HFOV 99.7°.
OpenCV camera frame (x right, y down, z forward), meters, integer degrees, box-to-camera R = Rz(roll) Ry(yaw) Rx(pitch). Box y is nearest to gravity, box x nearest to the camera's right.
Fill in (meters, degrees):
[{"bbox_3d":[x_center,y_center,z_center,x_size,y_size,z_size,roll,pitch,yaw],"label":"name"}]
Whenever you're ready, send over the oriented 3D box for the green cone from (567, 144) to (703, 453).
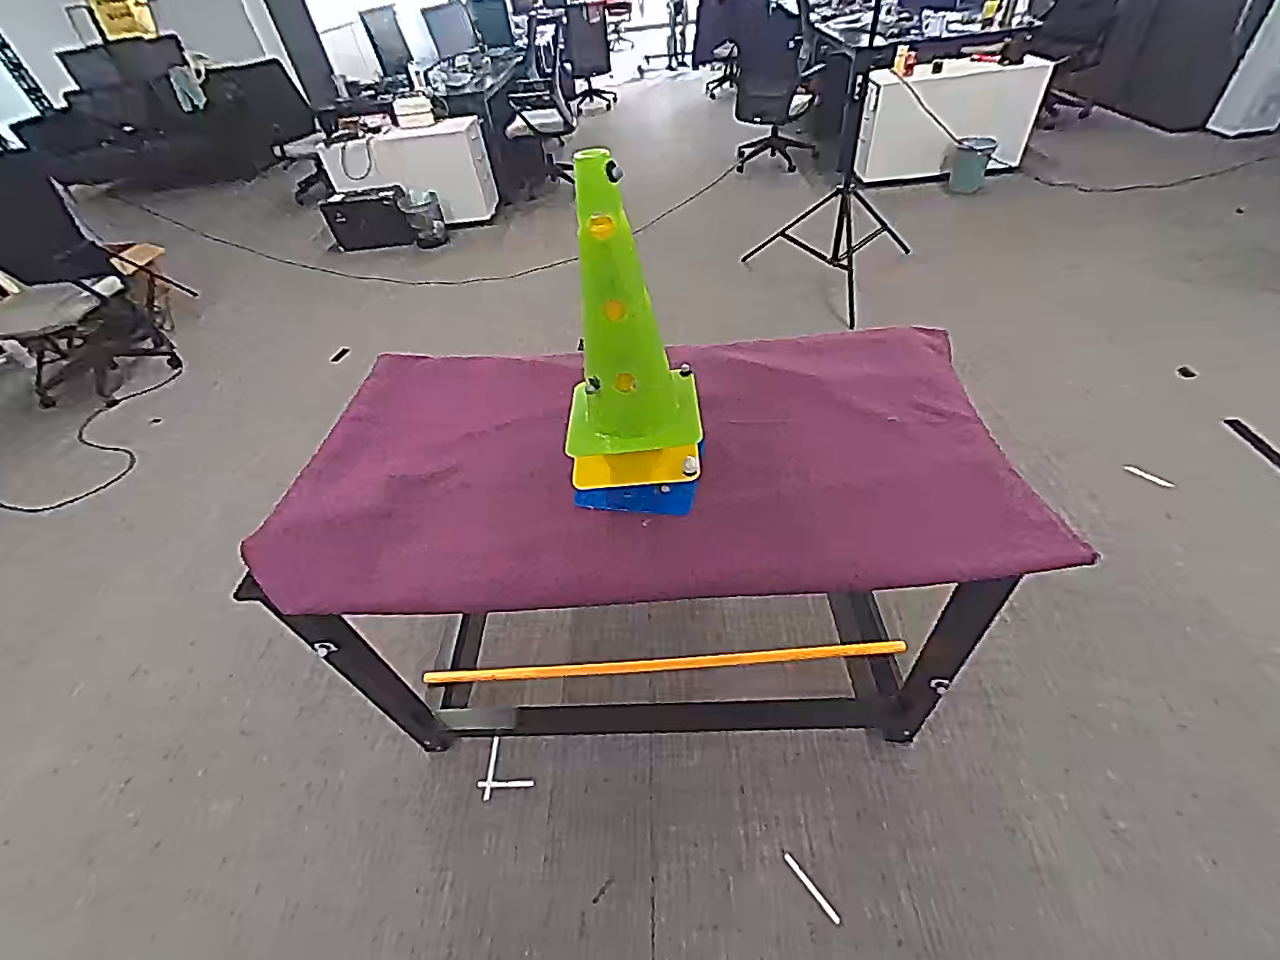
[{"bbox_3d":[-0.034,-0.239,0.724,0.200,0.368,0.202,-7,43,4],"label":"green cone"}]
